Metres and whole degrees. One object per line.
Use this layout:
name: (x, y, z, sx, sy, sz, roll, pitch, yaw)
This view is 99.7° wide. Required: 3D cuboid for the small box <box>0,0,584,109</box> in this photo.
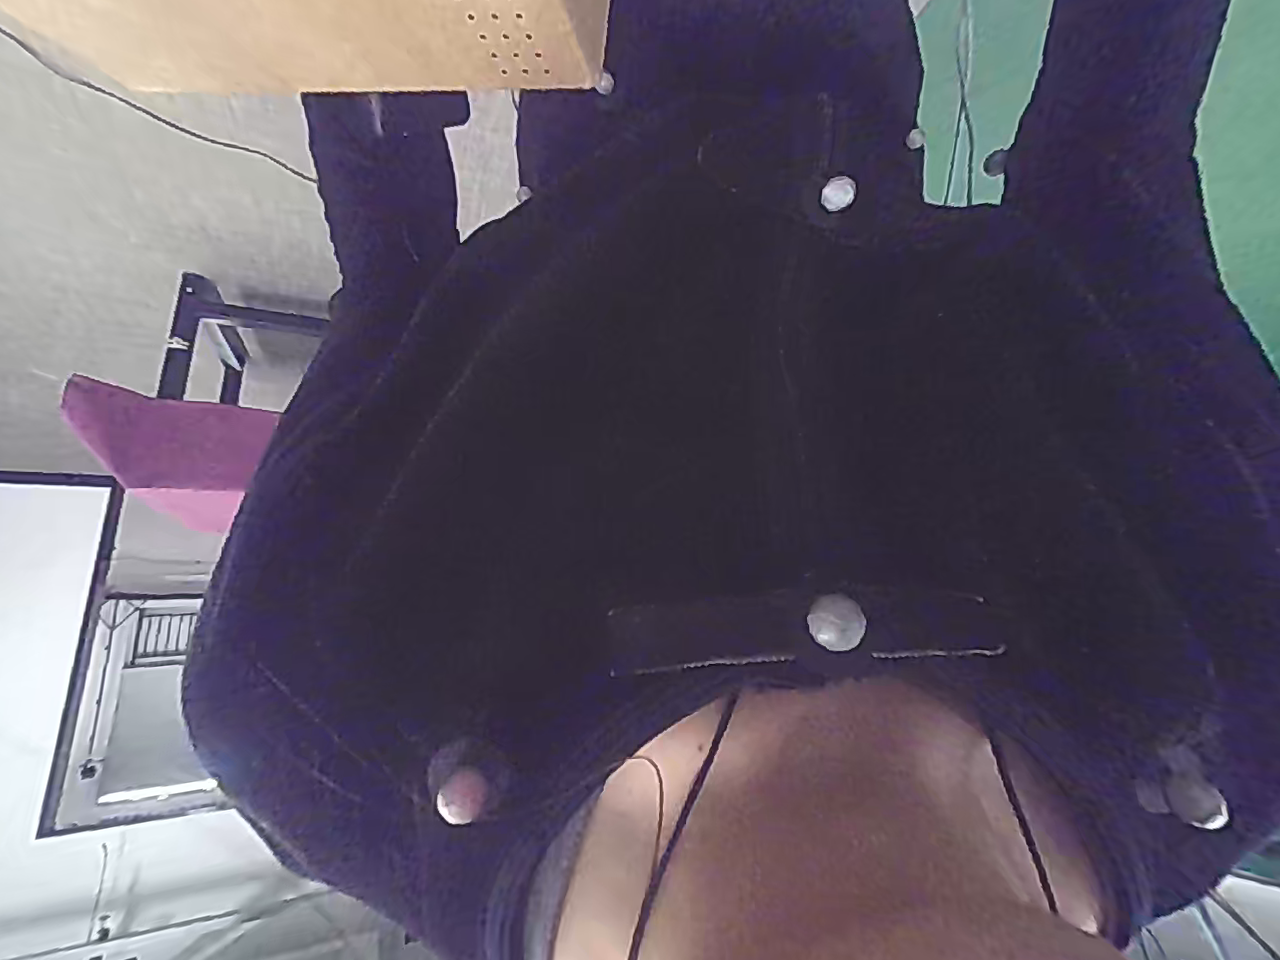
small box: (-0.102, -0.203, 0.094, 0.176, 0.179, 0.168, 9, -176, 10)
